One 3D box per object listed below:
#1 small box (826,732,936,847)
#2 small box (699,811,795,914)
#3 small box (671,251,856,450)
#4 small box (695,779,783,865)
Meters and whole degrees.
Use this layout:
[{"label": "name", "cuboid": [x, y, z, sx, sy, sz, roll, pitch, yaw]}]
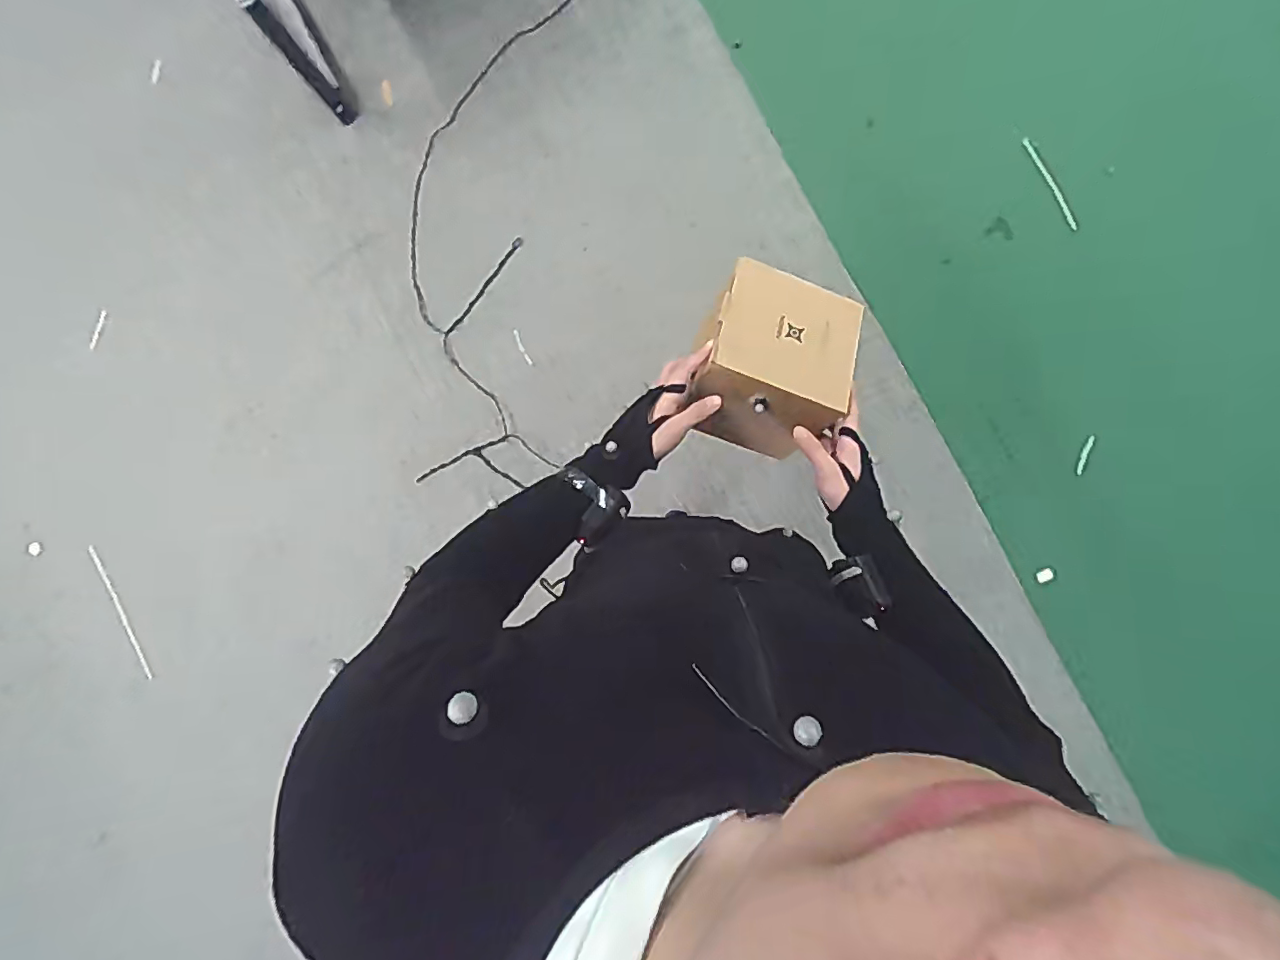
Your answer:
[{"label": "small box", "cuboid": [0.578, 0.743, 1.324, 0.168, 0.176, 0.179, -19, 85, 2]}, {"label": "small box", "cuboid": [0.252, 0.953, 1.327, 0.168, 0.176, 0.179, -24, 86, 1]}, {"label": "small box", "cuboid": [0.155, -0.160, 0.722, 0.179, 0.176, 0.168, 20, 68, -6]}, {"label": "small box", "cuboid": [0.264, 0.966, 1.490, 0.179, 0.176, 0.168, -26, 85, 1]}]
